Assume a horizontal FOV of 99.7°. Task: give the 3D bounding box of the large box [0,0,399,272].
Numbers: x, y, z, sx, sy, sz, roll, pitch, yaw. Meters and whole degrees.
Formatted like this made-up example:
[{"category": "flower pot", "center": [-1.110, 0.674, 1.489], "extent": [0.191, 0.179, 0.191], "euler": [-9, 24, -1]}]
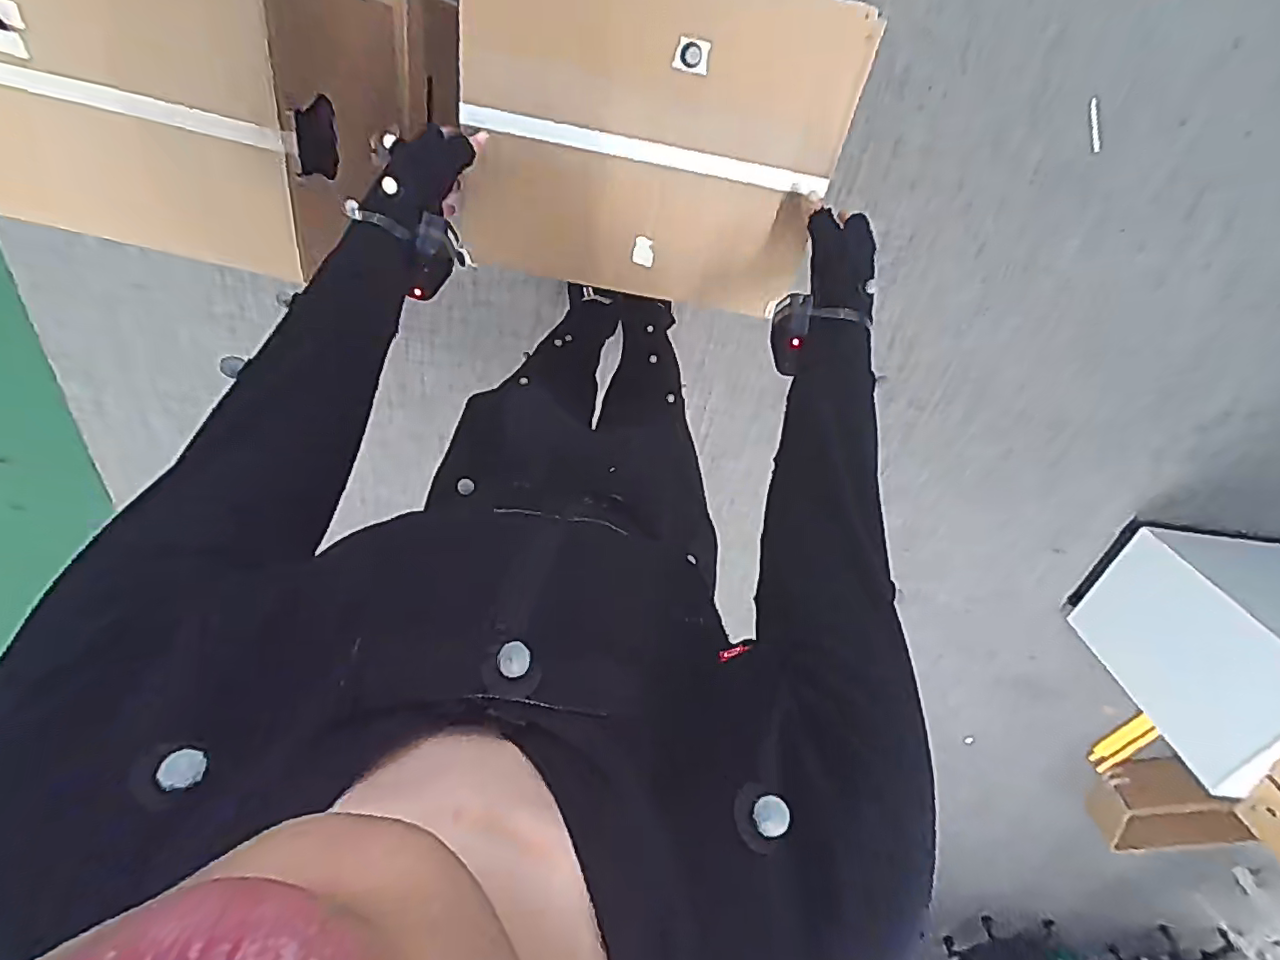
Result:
[{"category": "large box", "center": [-0.576, -0.505, 0.691], "extent": [0.408, 0.320, 0.320], "euler": [12, 126, -5]}]
